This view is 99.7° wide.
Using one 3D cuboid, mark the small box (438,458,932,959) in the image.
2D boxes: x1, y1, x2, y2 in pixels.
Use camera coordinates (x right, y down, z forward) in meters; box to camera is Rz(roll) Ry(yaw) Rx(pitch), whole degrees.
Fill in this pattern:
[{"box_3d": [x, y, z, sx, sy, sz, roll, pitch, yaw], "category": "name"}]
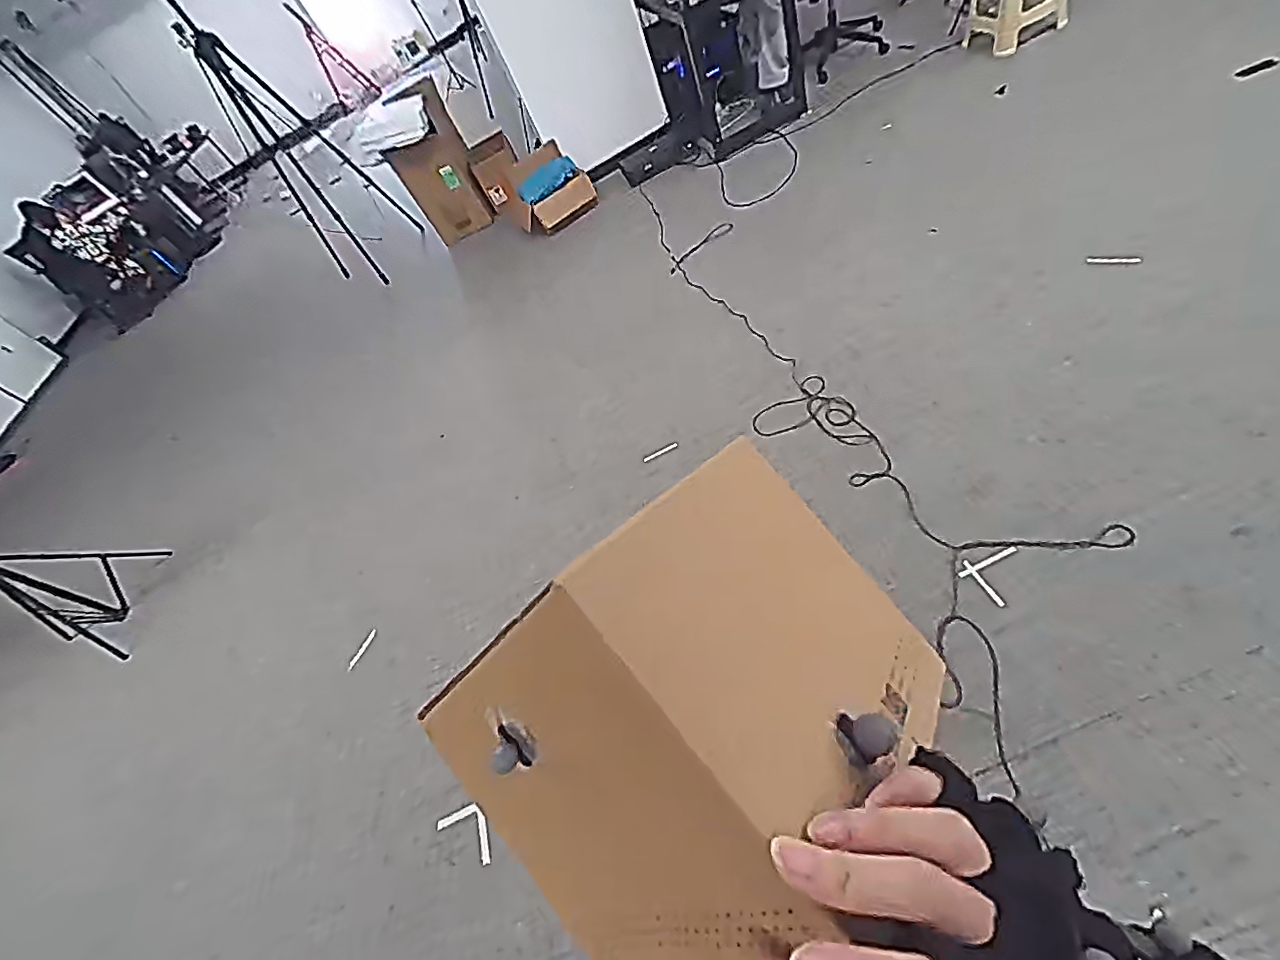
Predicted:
[{"box_3d": [0.024, 0.124, 0.307, 0.179, 0.176, 0.168, -46, -7, 40], "category": "small box"}]
